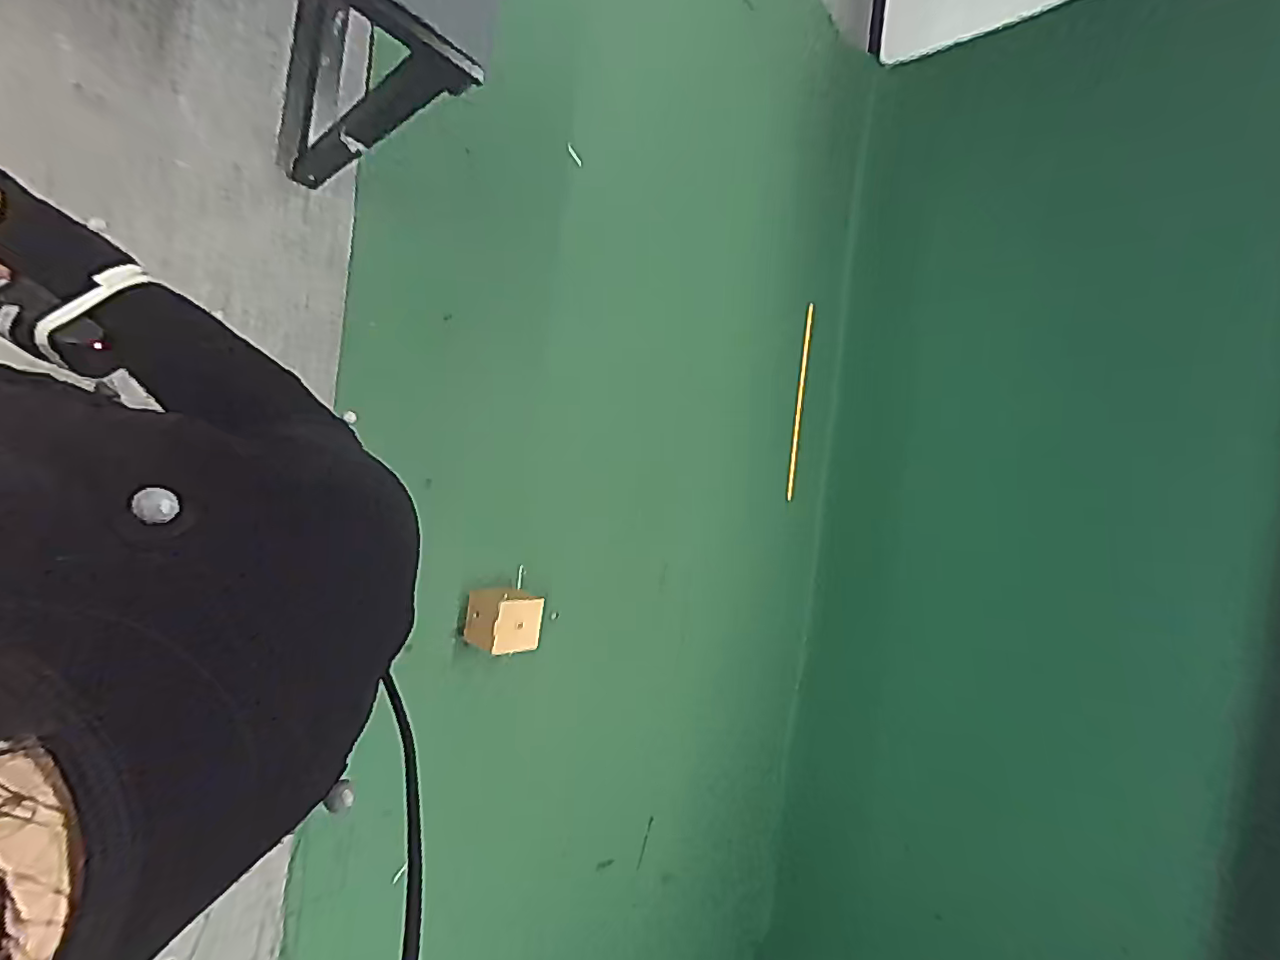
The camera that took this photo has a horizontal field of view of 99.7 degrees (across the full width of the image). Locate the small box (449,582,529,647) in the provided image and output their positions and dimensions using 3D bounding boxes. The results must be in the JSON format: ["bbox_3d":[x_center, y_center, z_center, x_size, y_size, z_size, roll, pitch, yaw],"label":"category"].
[{"bbox_3d":[-0.495,0.433,1.772,0.179,0.176,0.168,10,89,-50],"label":"small box"}]
